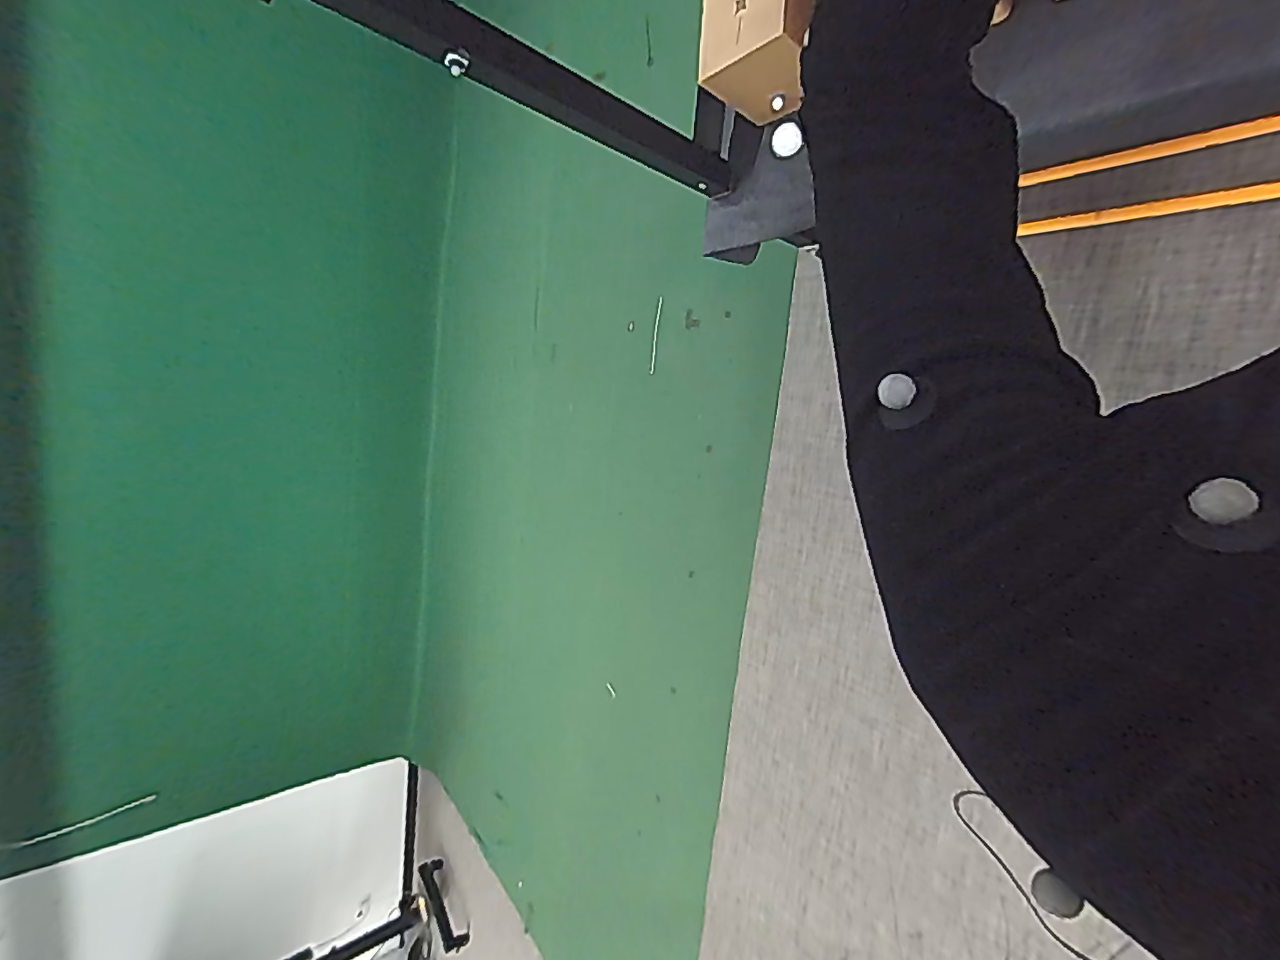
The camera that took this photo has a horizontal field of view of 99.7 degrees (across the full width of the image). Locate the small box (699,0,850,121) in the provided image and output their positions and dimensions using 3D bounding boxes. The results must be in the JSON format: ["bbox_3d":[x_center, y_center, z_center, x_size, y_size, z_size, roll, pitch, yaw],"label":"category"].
[{"bbox_3d":[0.216,-0.715,0.850,0.168,0.176,0.179,11,98,49],"label":"small box"}]
